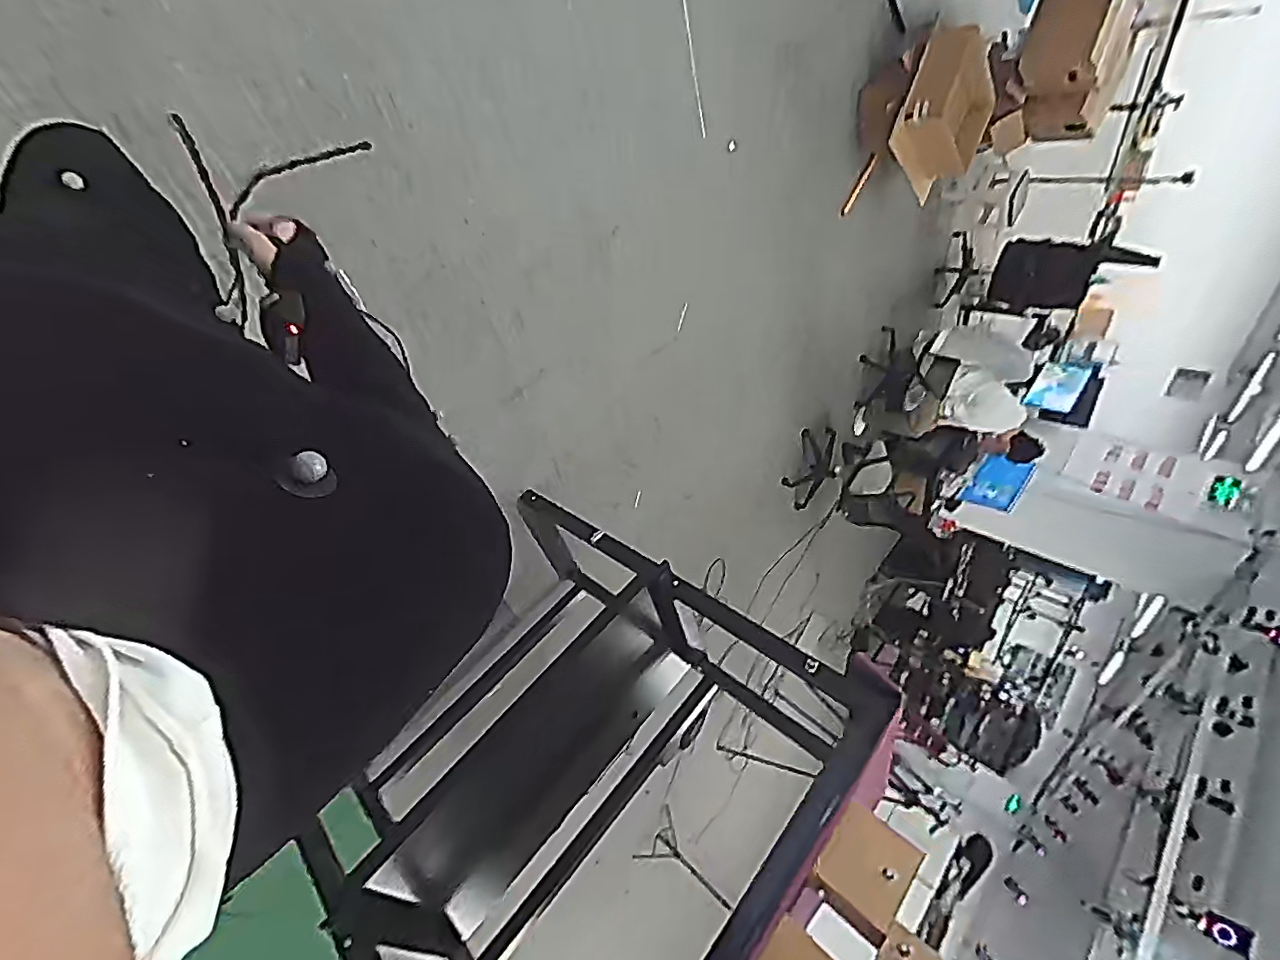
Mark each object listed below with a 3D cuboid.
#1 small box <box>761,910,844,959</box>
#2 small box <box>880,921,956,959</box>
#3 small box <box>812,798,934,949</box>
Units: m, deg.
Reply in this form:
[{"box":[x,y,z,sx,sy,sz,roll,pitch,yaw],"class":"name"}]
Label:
[{"box":[0.311,0.973,1.021,0.179,0.176,0.168,-45,138,-25],"class":"small box"},{"box":[0.518,0.955,0.984,0.168,0.176,0.179,-43,138,-25],"class":"small box"},{"box":[0.481,0.813,1.131,0.179,0.176,0.168,-40,135,-28],"class":"small box"}]
